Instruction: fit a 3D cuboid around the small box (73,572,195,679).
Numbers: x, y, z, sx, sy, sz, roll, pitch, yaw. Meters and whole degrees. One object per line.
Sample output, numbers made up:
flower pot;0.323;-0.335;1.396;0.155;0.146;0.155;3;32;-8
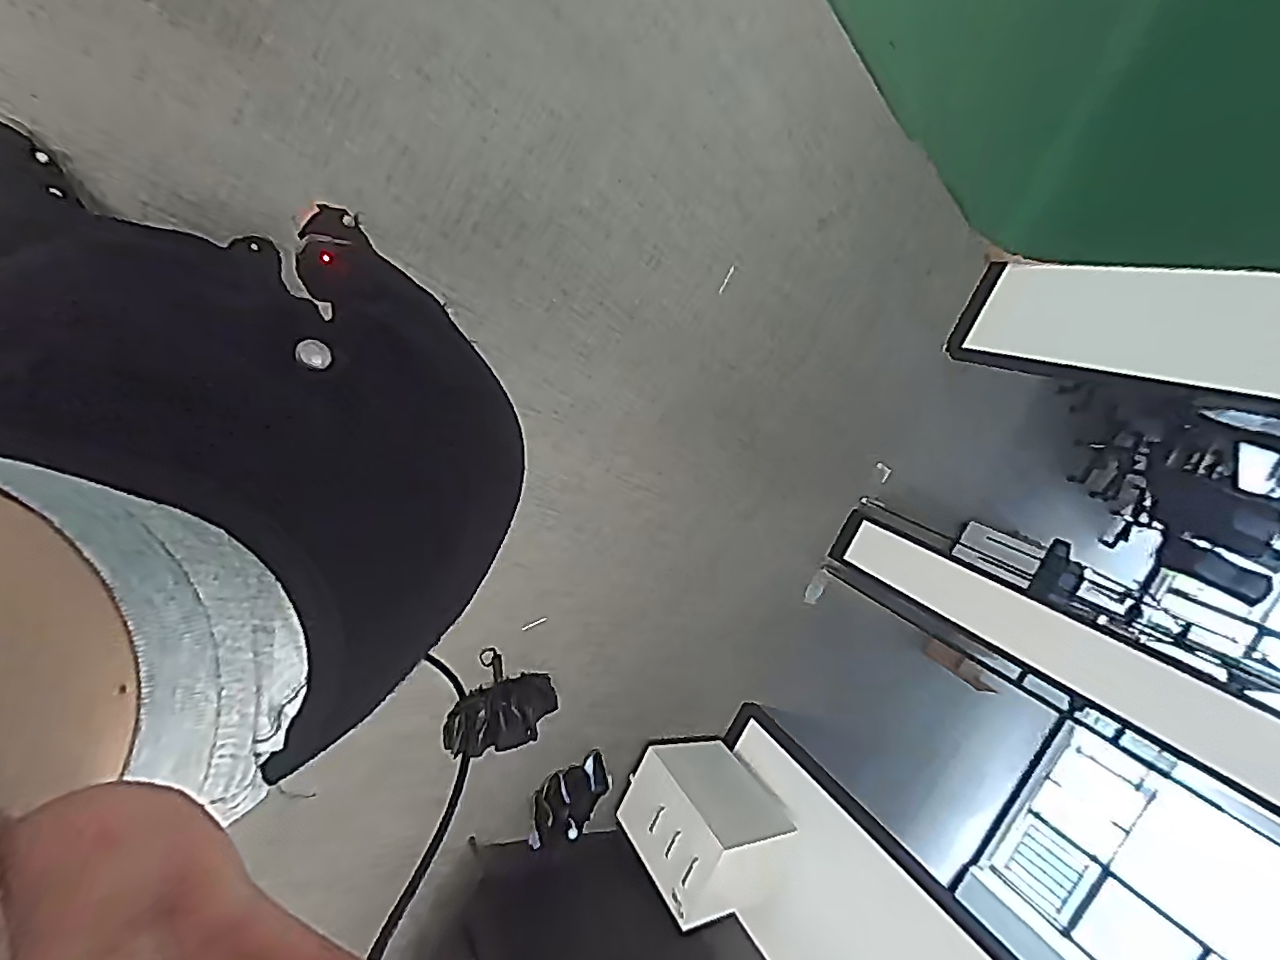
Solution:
small box;-1.164;0.339;1.259;0.168;0.176;0.179;18;98;-40
